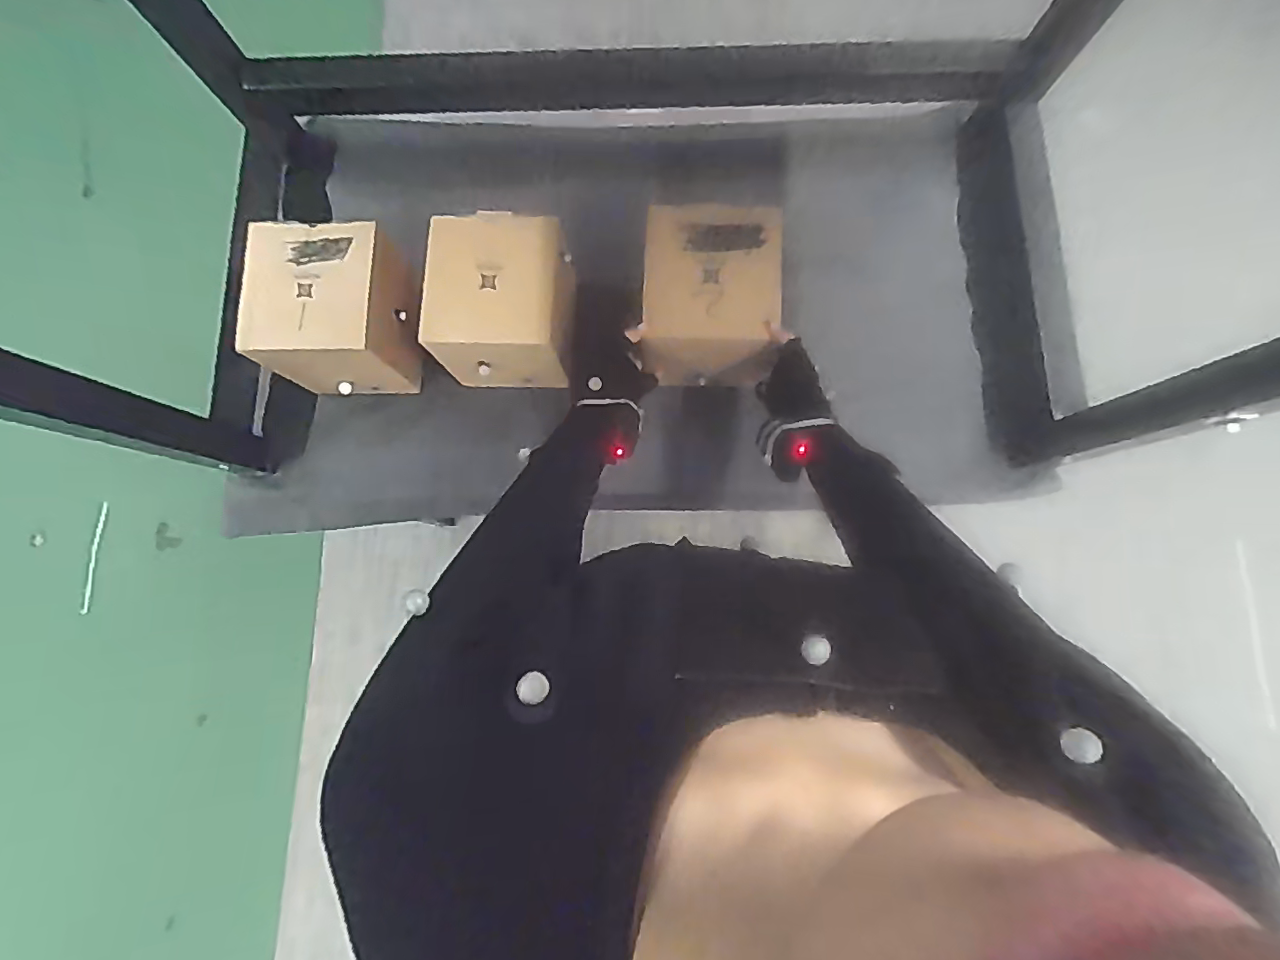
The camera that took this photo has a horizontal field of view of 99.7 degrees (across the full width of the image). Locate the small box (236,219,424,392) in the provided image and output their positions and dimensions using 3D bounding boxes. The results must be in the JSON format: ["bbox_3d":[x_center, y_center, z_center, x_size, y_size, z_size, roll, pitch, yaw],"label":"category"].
[{"bbox_3d":[-0.415,-0.236,0.758,0.168,0.176,0.179,0,80,1],"label":"small box"}]

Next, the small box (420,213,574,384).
[{"bbox_3d":[-0.187,-0.243,0.758,0.168,0.176,0.179,1,79,1],"label":"small box"}]
